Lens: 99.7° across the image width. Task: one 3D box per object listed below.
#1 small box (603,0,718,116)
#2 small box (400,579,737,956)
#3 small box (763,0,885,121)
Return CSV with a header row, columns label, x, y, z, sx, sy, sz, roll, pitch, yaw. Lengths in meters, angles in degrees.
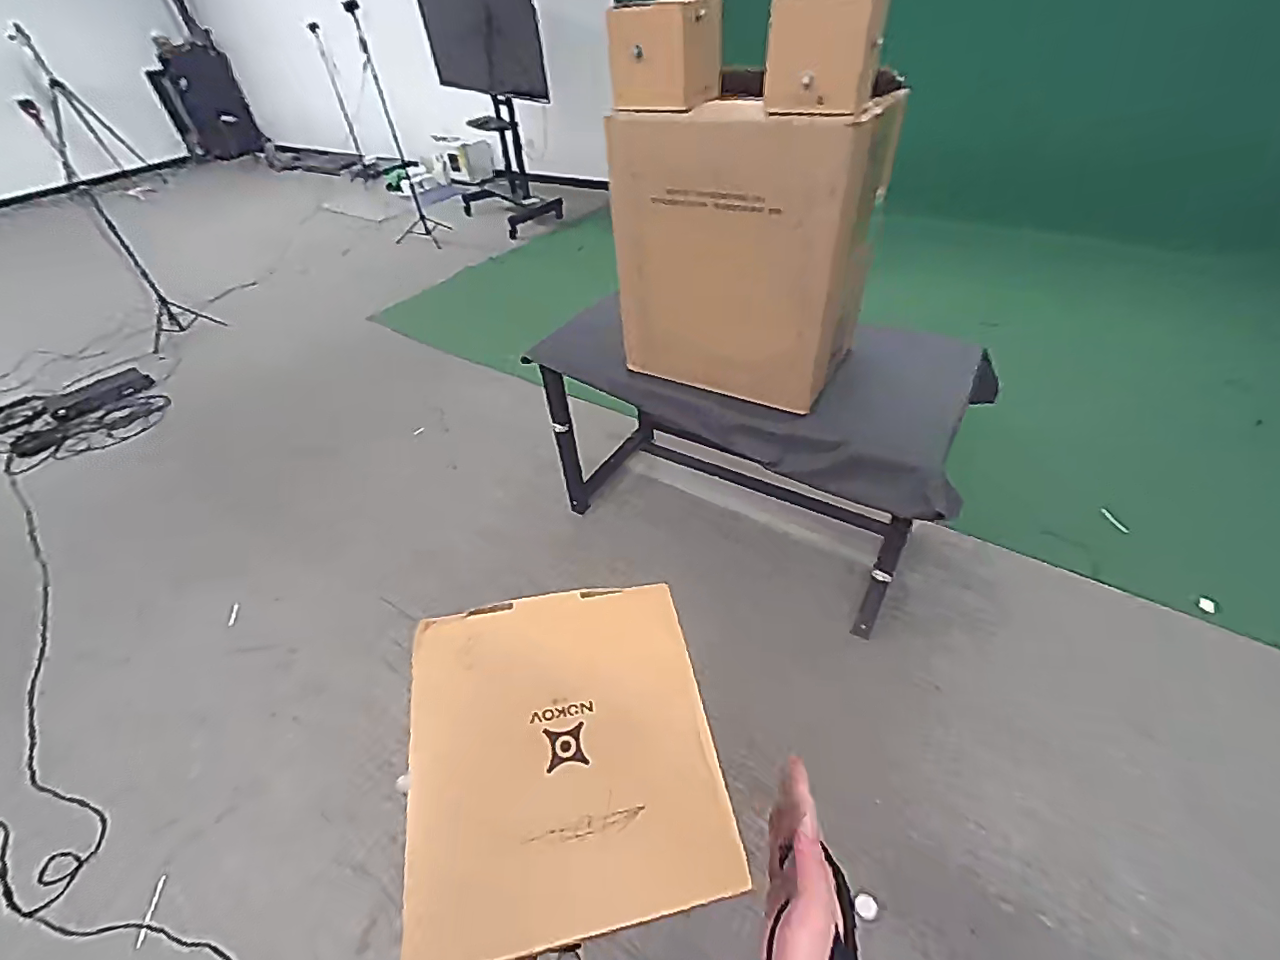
label,x,y,z,sx,sy,sz,roll,pitch,yaw
small box,0.049,-0.870,1.122,0.179,0.176,0.168,18,49,27
small box,-0.054,0.193,0.371,0.168,0.176,0.179,-6,51,-12
small box,0.331,-0.776,0.988,0.168,0.176,0.179,16,47,21
